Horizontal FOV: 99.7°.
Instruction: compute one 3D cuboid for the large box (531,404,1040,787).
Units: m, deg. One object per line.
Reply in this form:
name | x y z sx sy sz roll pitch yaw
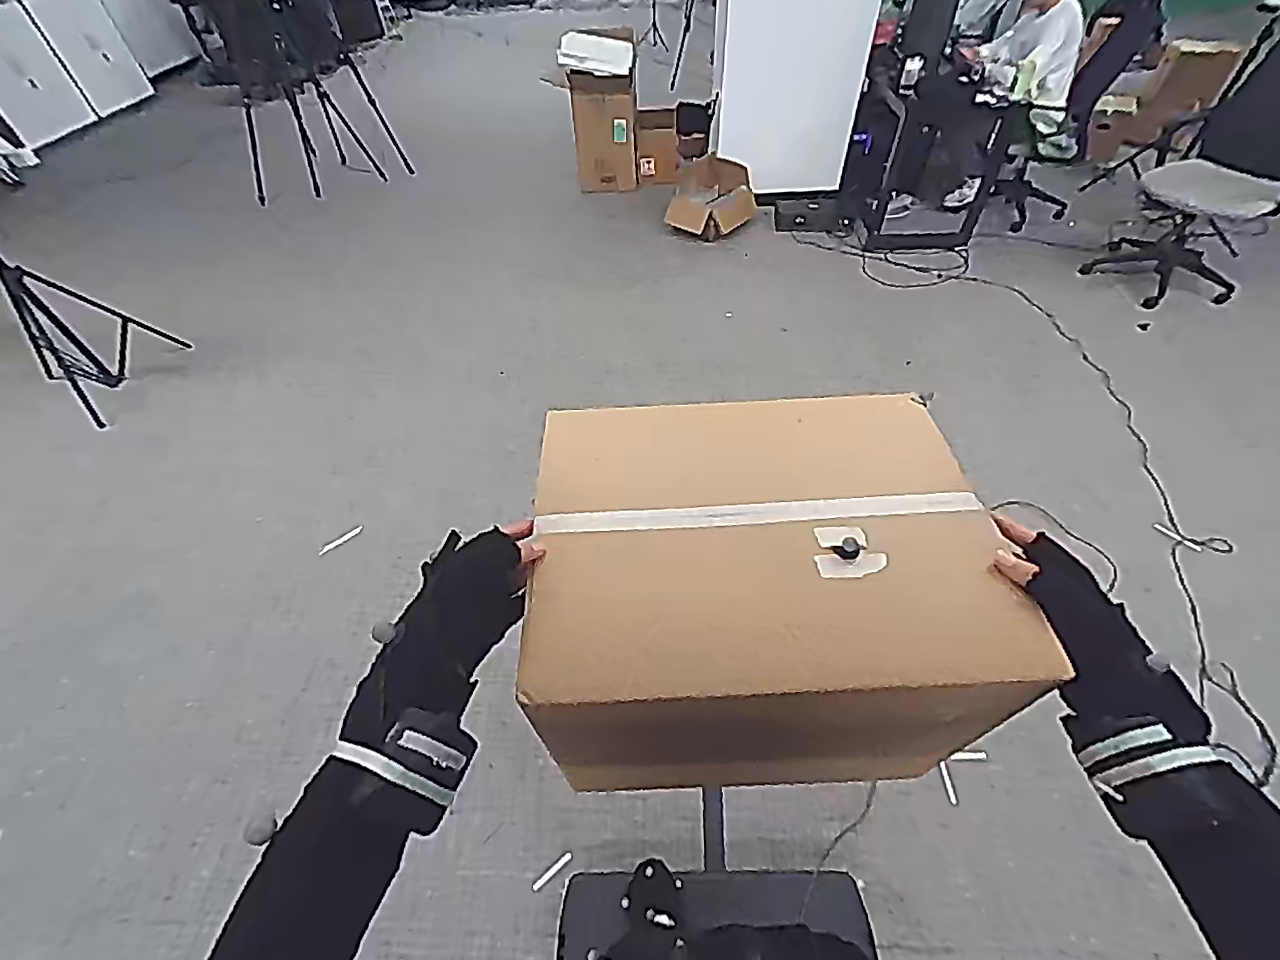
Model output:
large box | 0.108 0.137 0.621 0.408 0.320 0.320 -3 50 0
